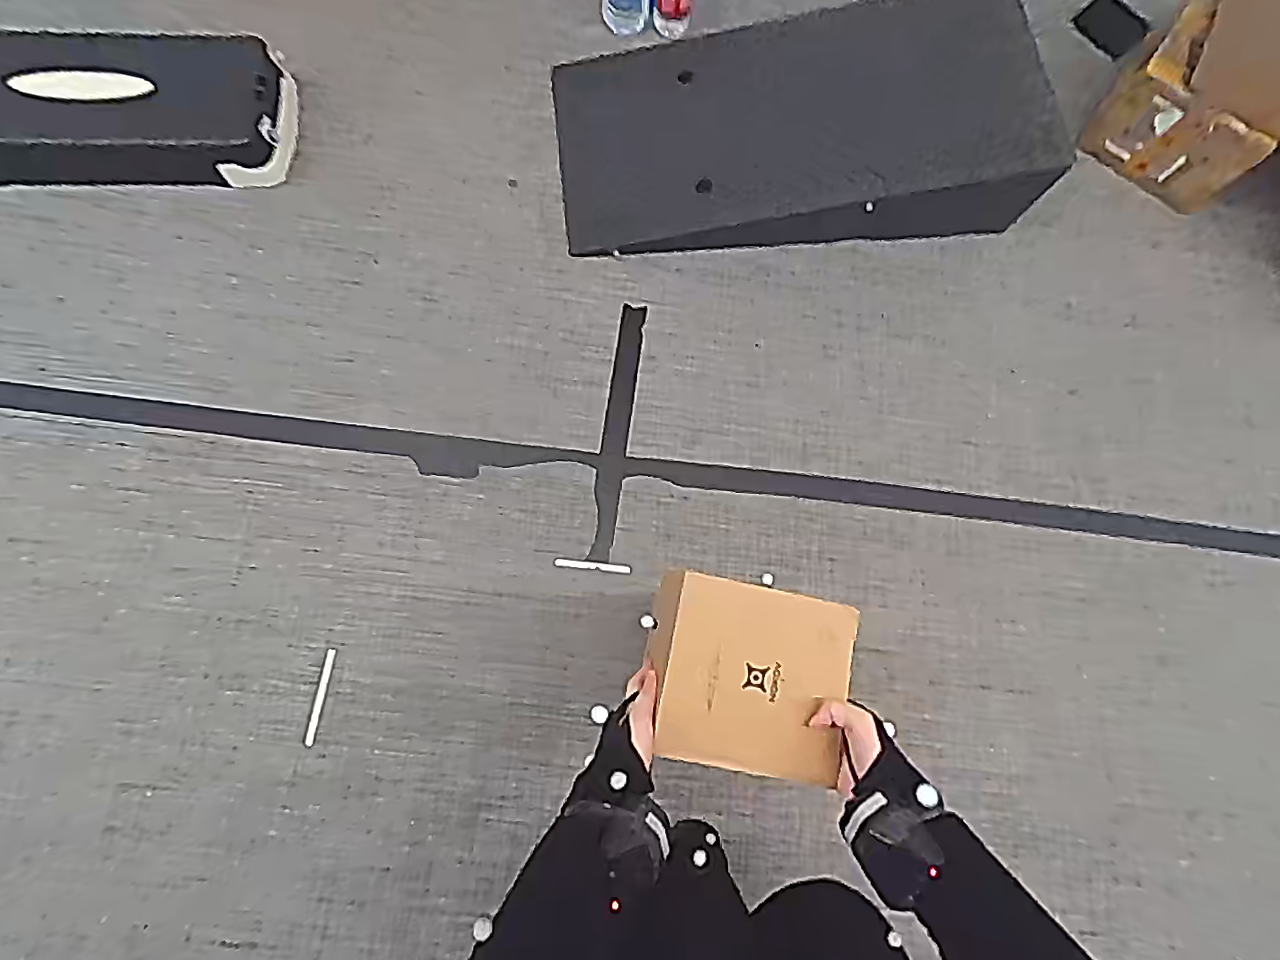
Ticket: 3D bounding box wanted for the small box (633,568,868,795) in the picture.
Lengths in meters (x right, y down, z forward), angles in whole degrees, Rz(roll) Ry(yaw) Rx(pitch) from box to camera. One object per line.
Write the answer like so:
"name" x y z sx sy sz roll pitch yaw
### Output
"small box" 0.099 0.187 0.553 0.179 0.176 0.168 14 80 -3
